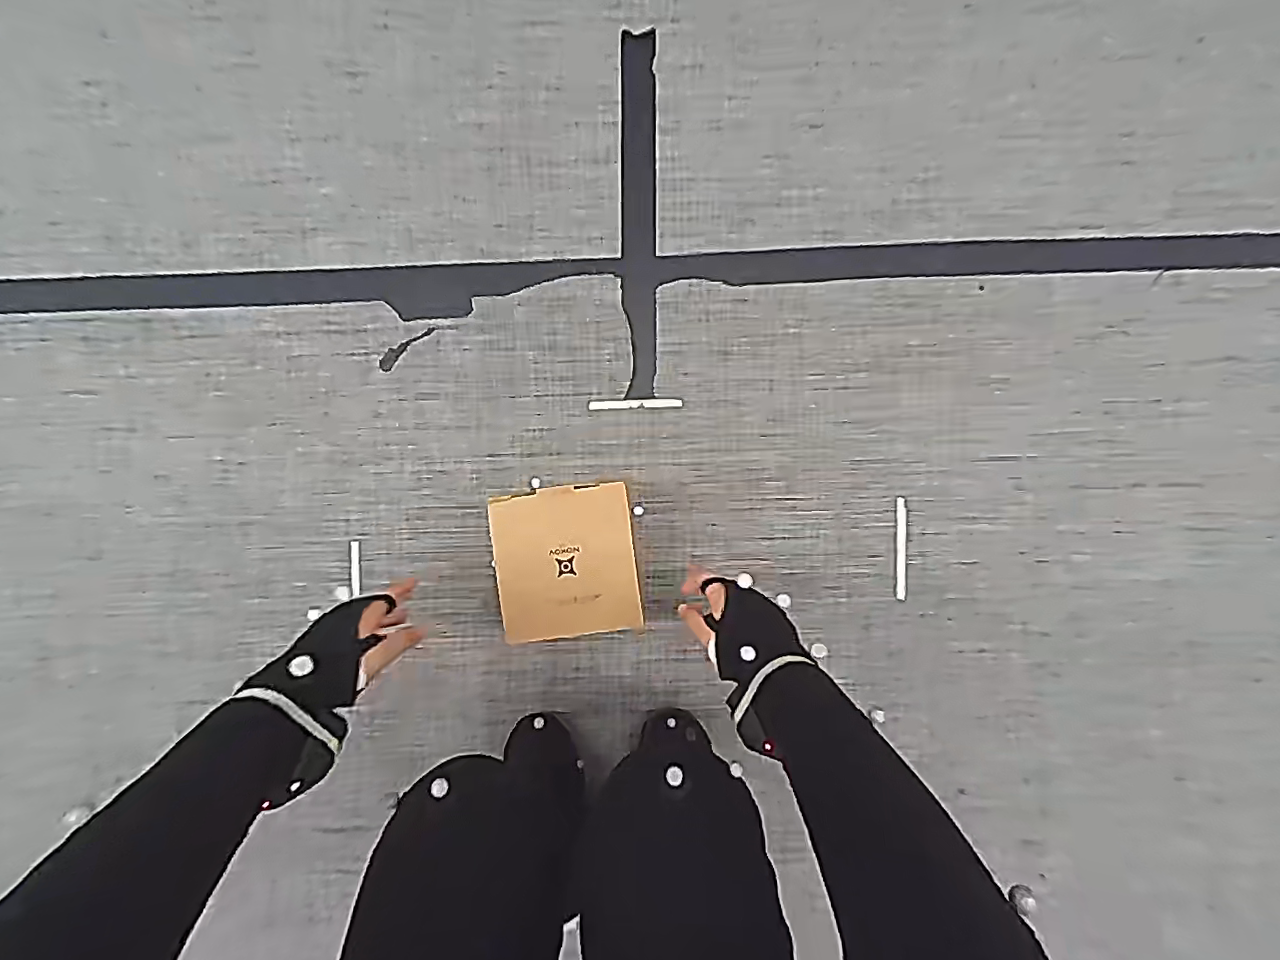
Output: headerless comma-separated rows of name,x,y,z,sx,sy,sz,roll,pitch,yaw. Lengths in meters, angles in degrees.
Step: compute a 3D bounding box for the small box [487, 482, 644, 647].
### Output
small box,-0.087,0.097,0.708,0.168,0.176,0.179,-8,93,1
